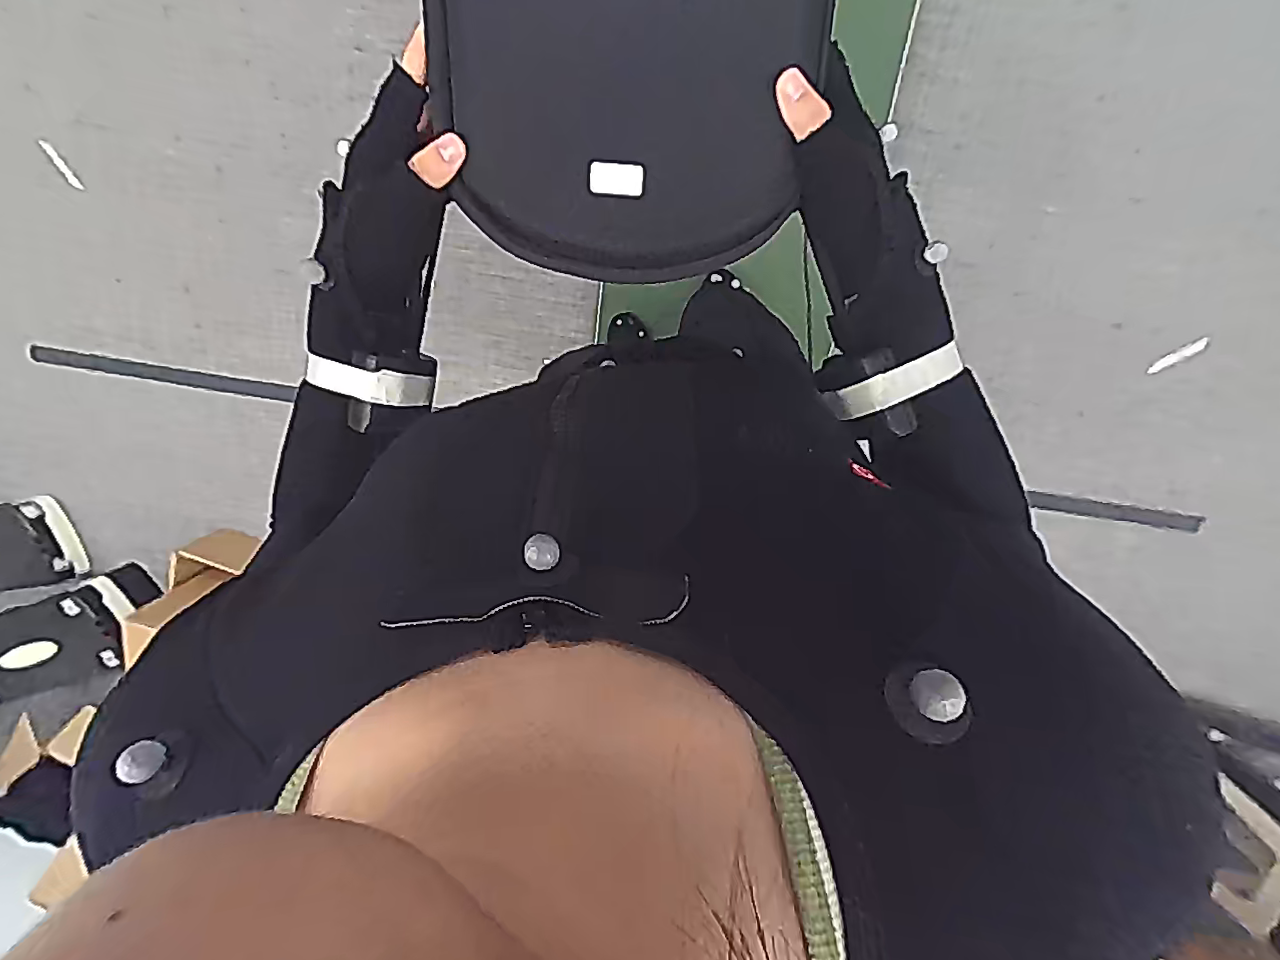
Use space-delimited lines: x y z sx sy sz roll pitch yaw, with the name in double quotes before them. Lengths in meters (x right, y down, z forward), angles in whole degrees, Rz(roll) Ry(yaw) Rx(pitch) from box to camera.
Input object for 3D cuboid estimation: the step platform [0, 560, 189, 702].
"step platform" -1.917 0.512 1.820 0.684 0.204 0.286 -19 106 11
